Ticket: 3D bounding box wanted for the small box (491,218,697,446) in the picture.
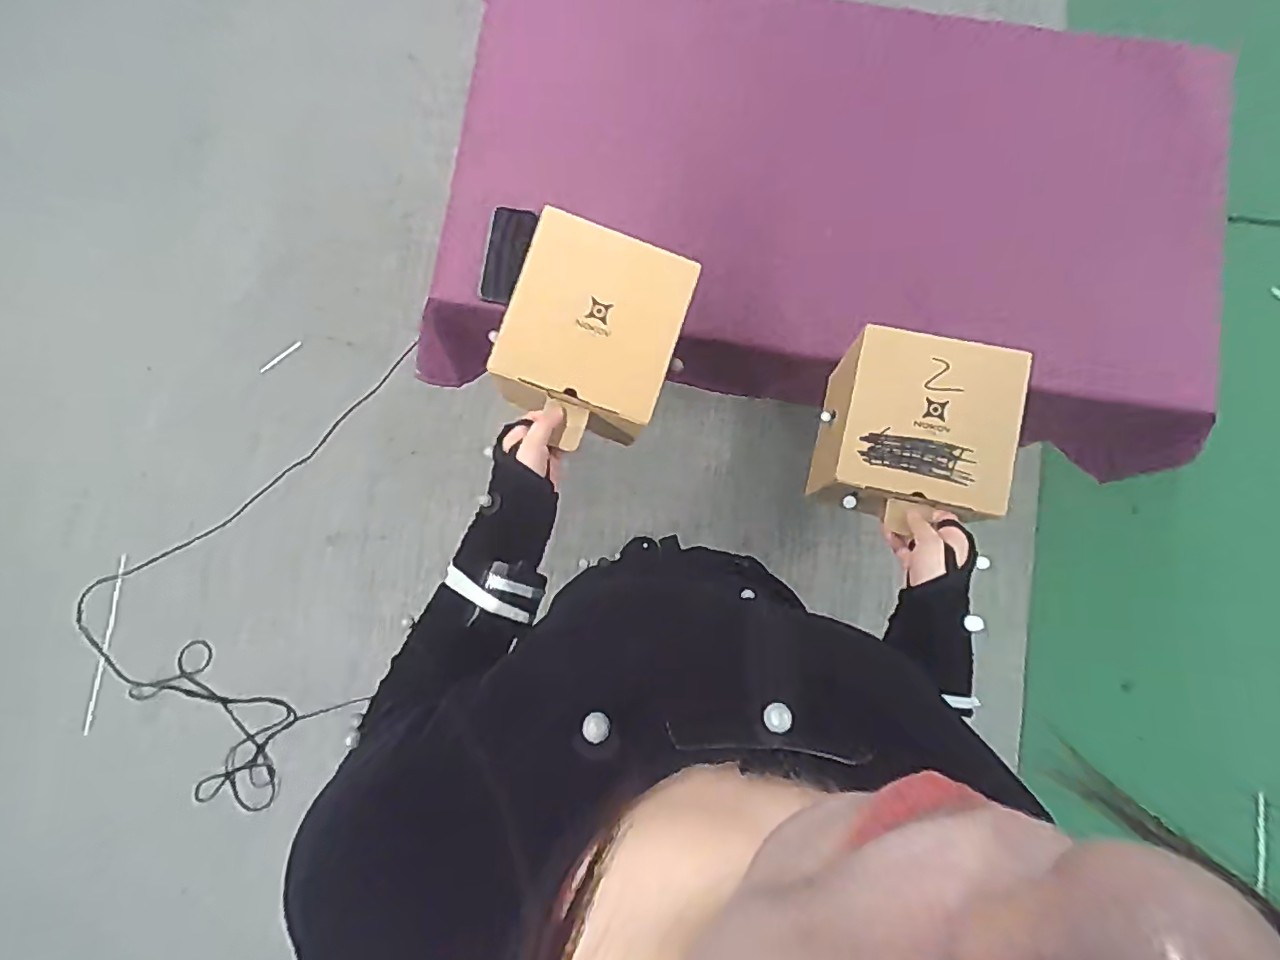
[{"bbox_3d":[-0.053,-0.151,0.617,0.168,0.176,0.179,19,86,-5],"label":"small box"}]
